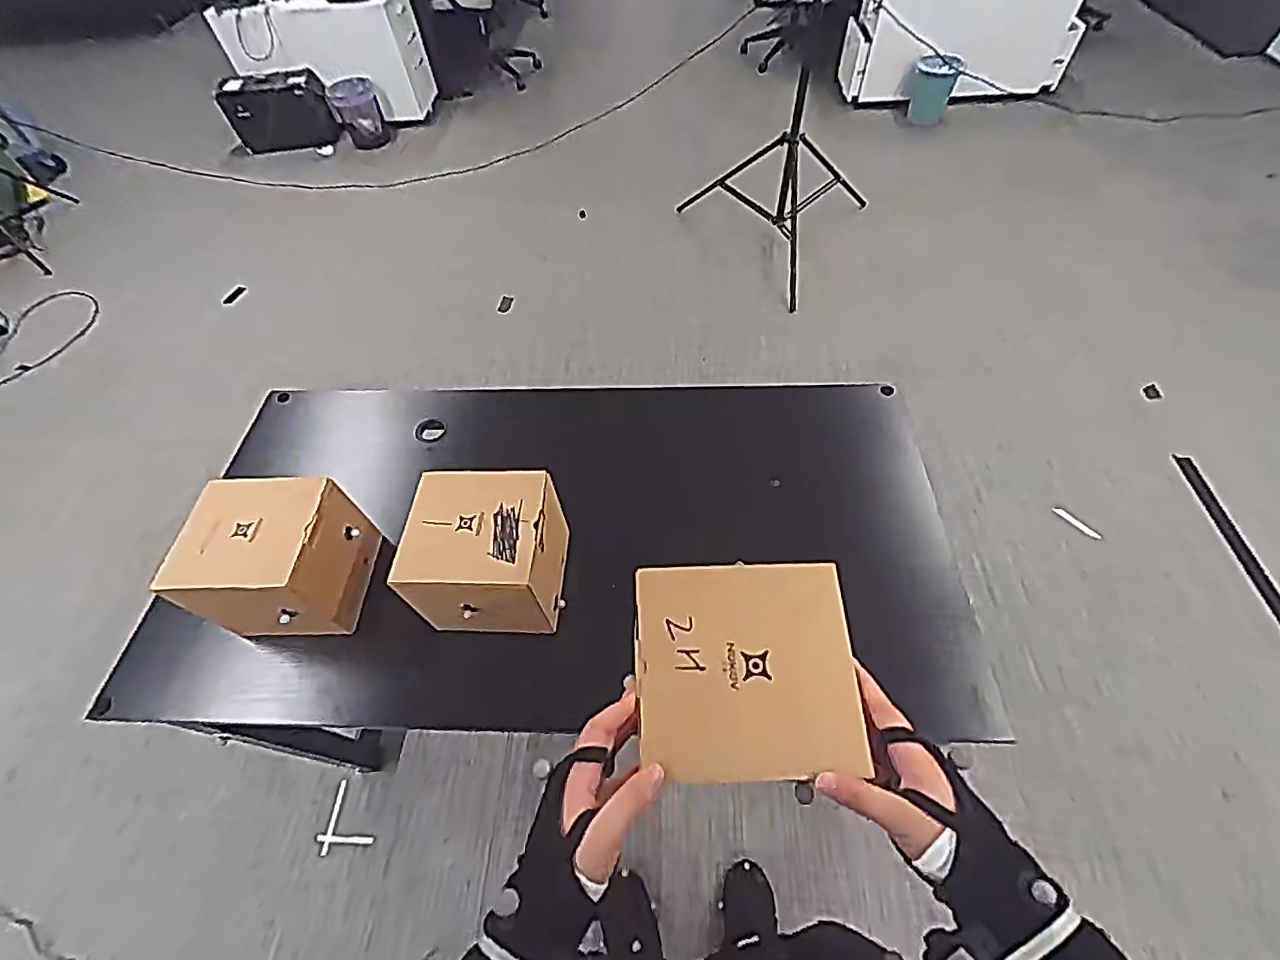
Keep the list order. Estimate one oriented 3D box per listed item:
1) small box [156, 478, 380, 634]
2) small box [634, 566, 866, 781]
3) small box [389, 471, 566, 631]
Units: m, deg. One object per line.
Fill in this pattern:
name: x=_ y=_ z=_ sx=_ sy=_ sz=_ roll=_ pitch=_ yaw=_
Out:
small box: x=-0.502 y=0.112 z=0.767 sx=0.179 sy=0.176 sz=0.168 roll=-3 pitch=55 yaw=3
small box: x=0.084 y=0.184 z=0.508 sx=0.179 sy=0.176 sz=0.168 roll=-1 pitch=63 yaw=1
small box: x=-0.207 y=0.102 z=0.752 sx=0.179 sy=0.176 sz=0.168 roll=0 pitch=55 yaw=5
